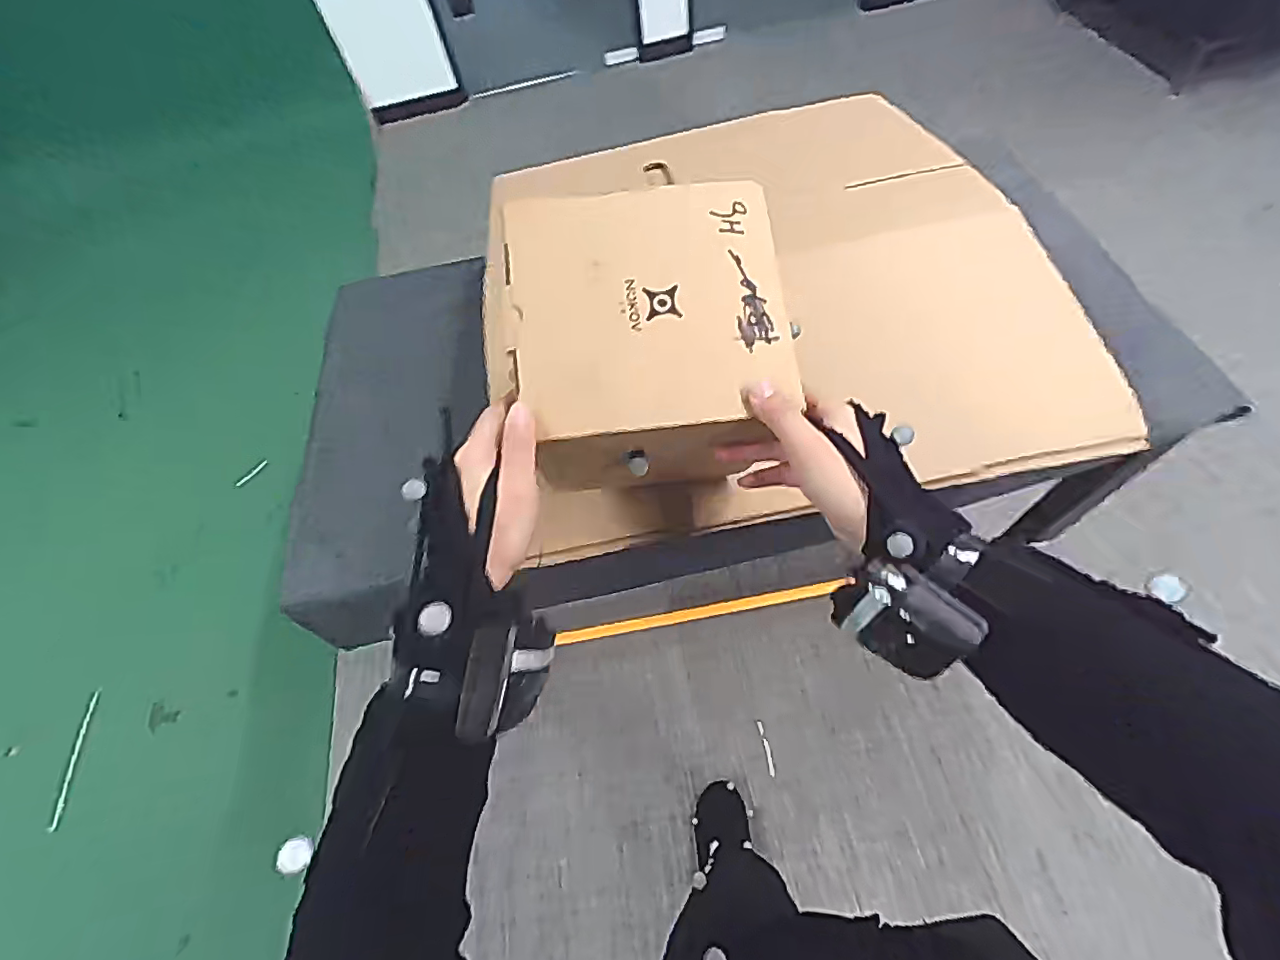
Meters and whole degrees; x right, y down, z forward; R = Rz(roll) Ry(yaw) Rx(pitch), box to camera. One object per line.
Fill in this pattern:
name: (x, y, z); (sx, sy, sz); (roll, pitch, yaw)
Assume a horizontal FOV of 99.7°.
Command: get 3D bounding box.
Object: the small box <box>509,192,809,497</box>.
small box: (0.007, -0.087, 0.417); (0.179, 0.176, 0.168); (-6, 78, -3)
